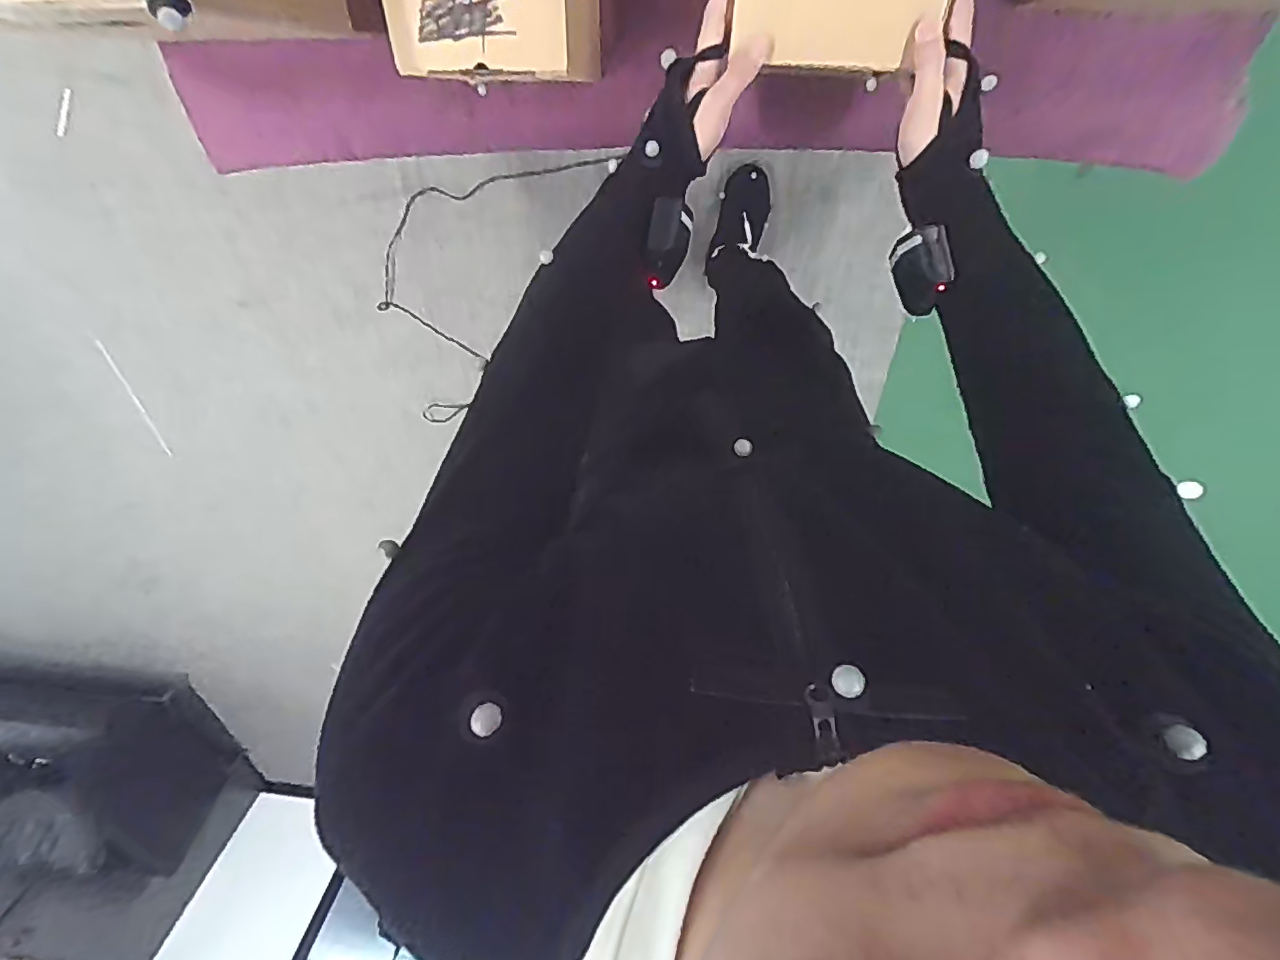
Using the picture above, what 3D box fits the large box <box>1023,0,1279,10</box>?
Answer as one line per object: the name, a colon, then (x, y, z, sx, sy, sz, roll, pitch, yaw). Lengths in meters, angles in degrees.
large box: (0.512, -0.537, 0.296, 0.320, 0.320, 0.408, 6, 127, 6)
